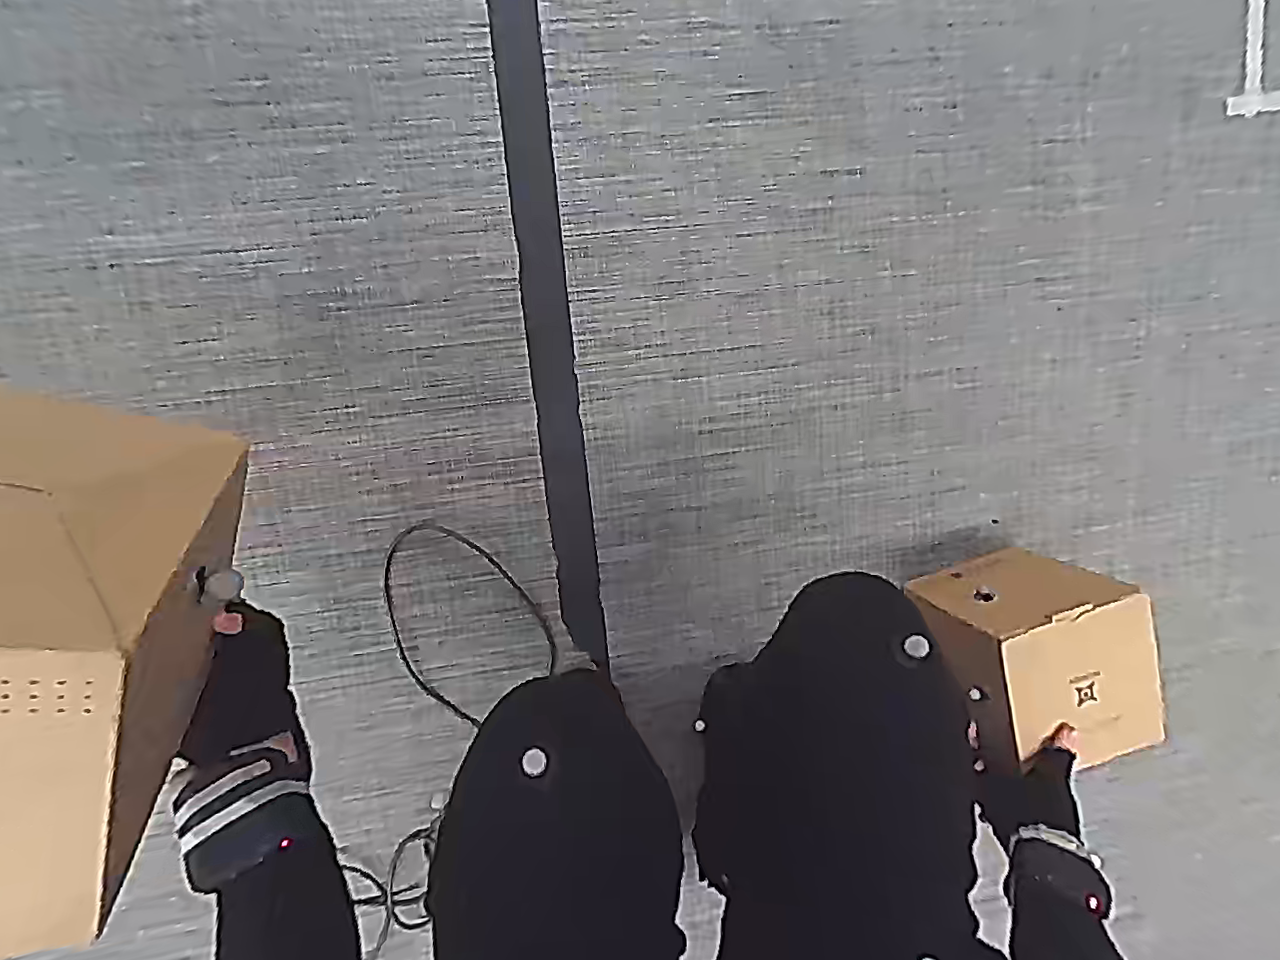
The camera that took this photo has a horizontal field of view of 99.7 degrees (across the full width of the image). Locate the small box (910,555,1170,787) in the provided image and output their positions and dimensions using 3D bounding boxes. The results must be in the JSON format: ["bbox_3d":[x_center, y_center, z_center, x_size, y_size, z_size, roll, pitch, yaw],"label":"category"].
[{"bbox_3d":[0.439,0.197,0.619,0.168,0.176,0.179,-17,100,-3],"label":"small box"}]

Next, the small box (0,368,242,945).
[{"bbox_3d":[-0.293,0.059,0.226,0.168,0.179,0.176,13,113,-27],"label":"small box"}]
